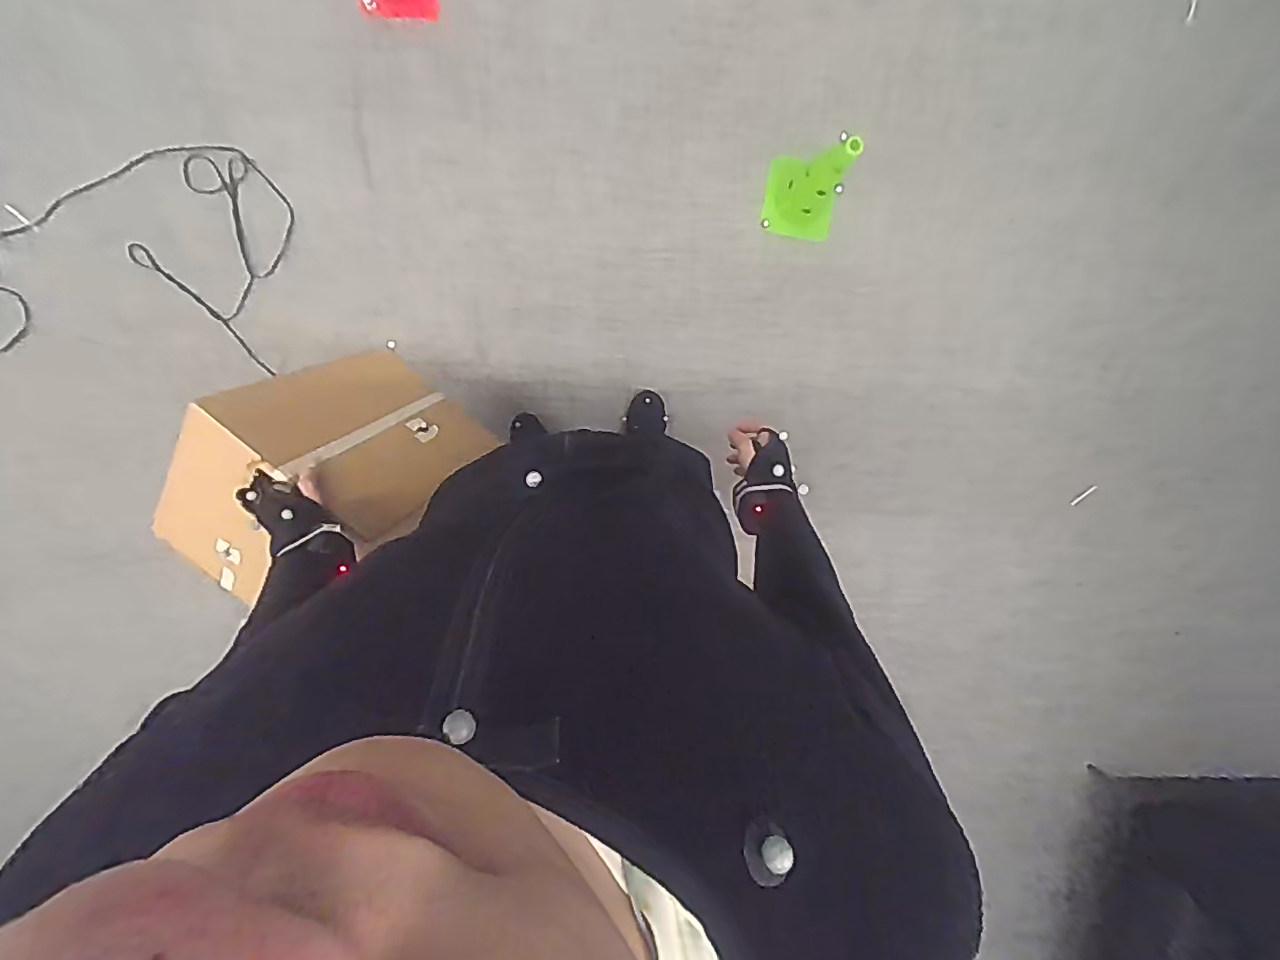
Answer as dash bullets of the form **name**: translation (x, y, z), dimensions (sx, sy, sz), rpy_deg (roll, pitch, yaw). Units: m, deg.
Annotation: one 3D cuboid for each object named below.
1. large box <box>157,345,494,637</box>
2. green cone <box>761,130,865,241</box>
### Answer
- **large box**: translation (-0.552, 0.002, 1.008), dimensions (0.320, 0.408, 0.320), rpy_deg (42, 118, -6)
- **green cone**: translation (0.465, -0.770, 1.364), dimensions (0.200, 0.368, 0.202), rpy_deg (9, 98, -6)
